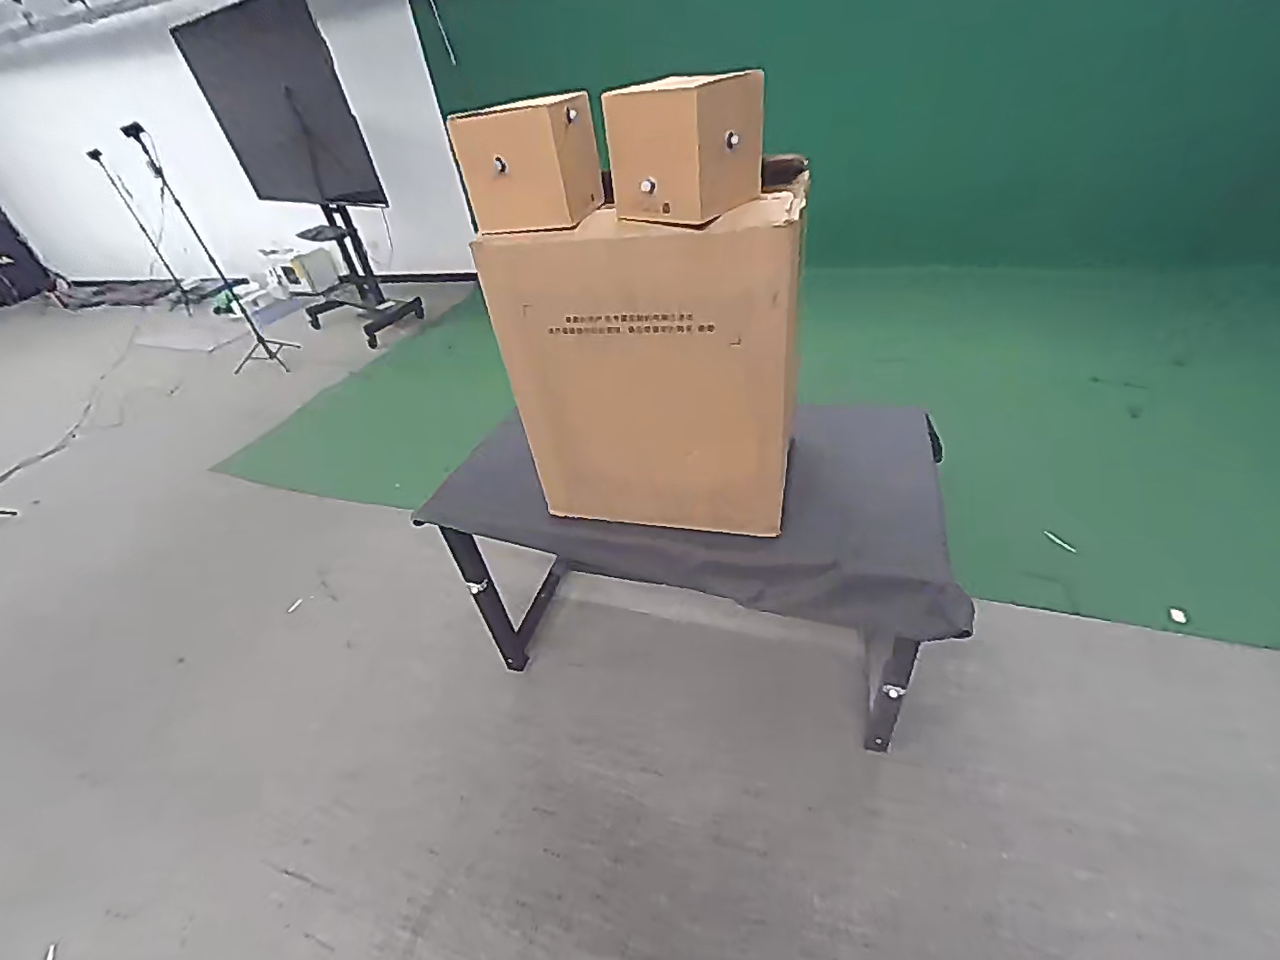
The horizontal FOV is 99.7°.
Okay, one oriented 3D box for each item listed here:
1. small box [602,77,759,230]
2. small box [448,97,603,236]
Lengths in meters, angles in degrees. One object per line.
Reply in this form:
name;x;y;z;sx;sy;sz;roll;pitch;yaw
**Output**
small box;0.067;-0.502;0.833;0.168;0.176;0.179;23;49;34
small box;-0.181;-0.522;0.910;0.179;0.176;0.168;3;41;18
